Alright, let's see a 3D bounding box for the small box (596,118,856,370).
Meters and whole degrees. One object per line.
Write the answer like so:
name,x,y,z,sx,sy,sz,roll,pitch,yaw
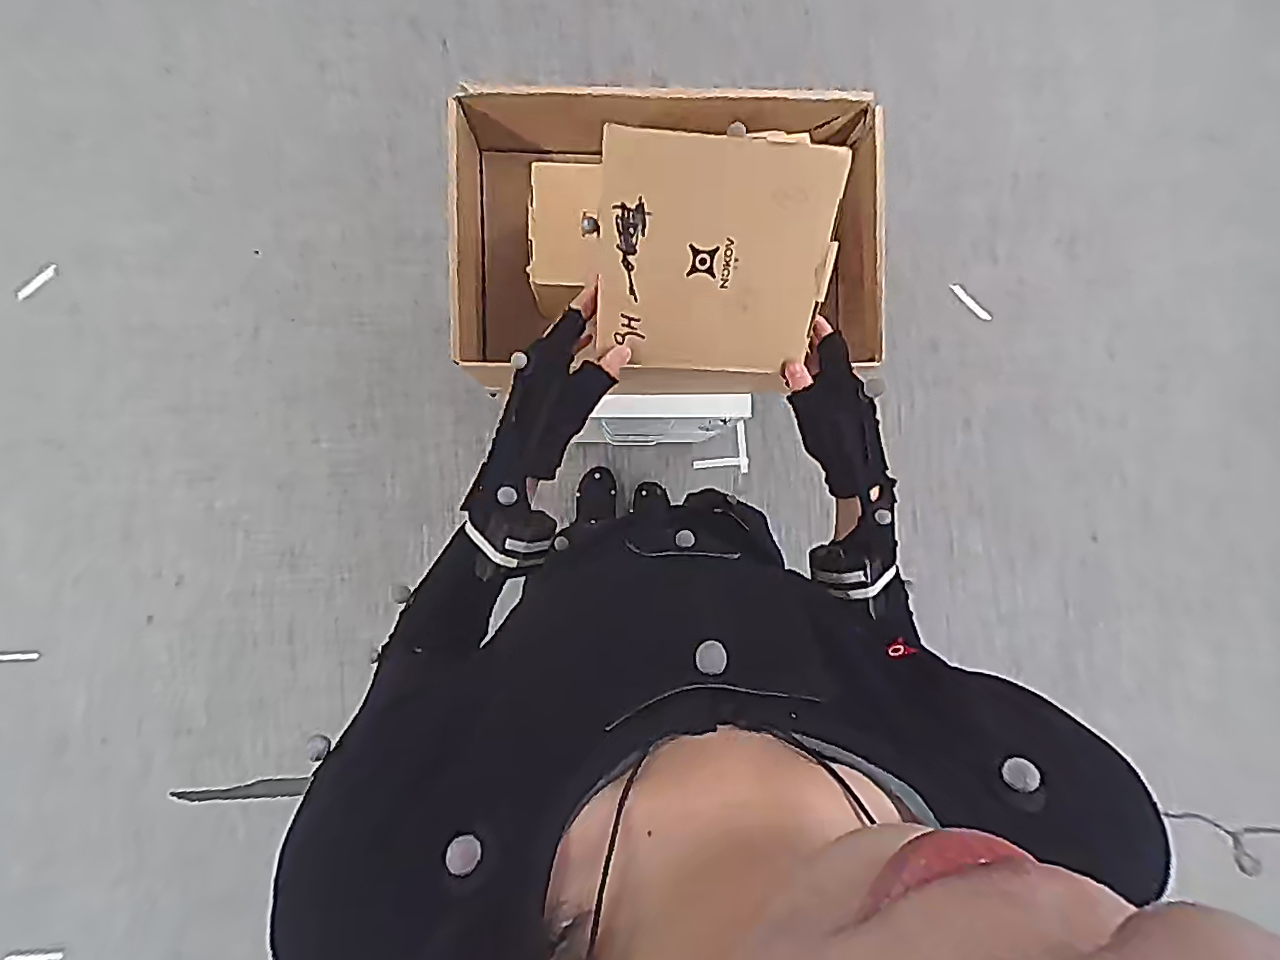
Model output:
small box,0.053,-0.204,0.474,0.179,0.176,0.168,2,118,-5
